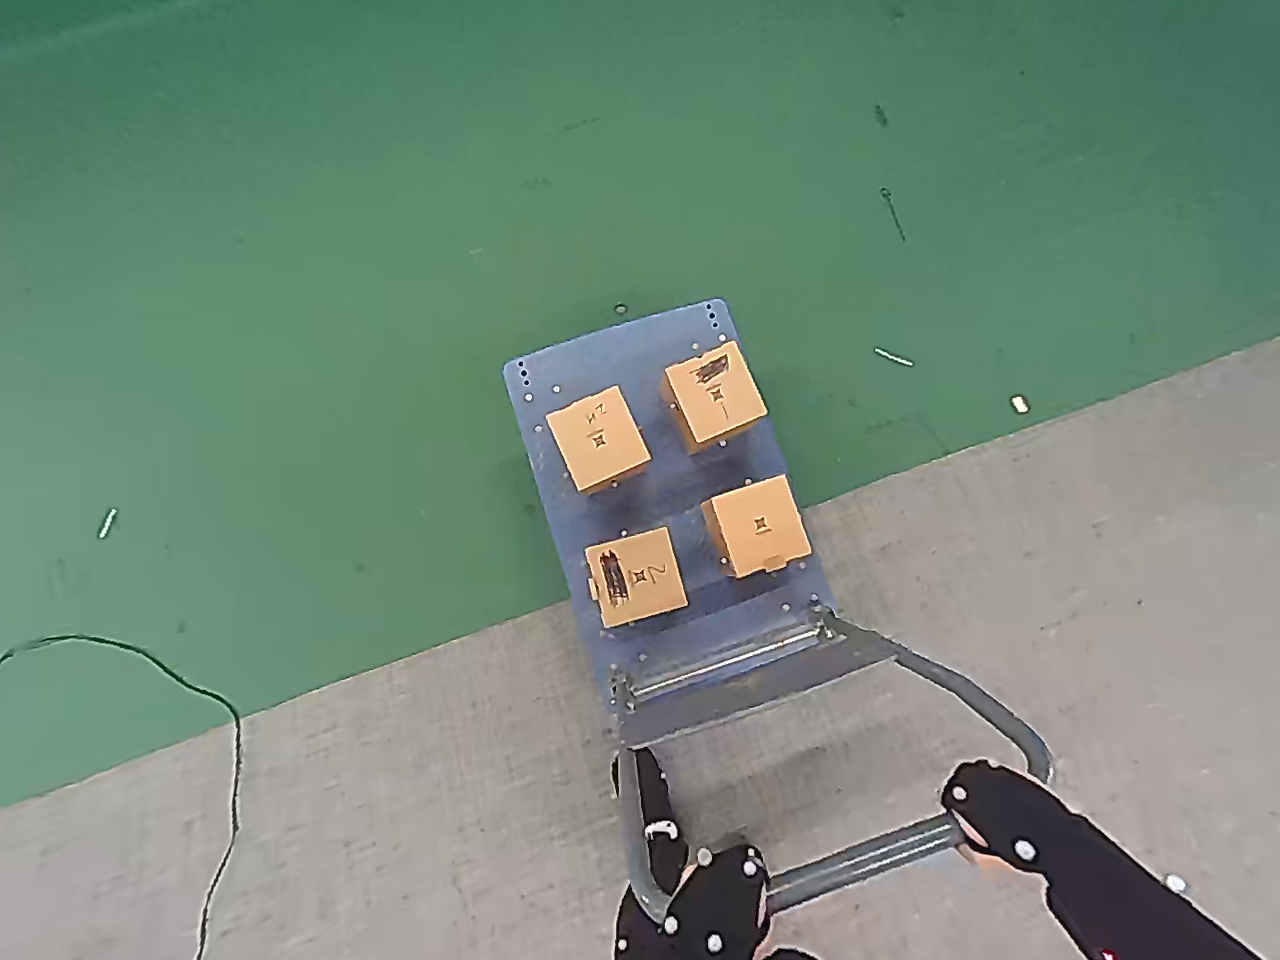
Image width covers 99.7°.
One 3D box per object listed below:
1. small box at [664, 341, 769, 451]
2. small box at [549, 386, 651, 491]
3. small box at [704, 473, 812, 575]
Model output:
[{"bbox_3d":[0.162,-0.180,1.216,0.168,0.176,0.179,-23,86,-4],"label":"small box"},{"bbox_3d":[-0.085,-0.082,1.196,0.168,0.176,0.179,-24,85,-5],"label":"small box"},{"bbox_3d":[0.249,0.099,1.191,0.168,0.176,0.179,-18,85,-4],"label":"small box"}]
